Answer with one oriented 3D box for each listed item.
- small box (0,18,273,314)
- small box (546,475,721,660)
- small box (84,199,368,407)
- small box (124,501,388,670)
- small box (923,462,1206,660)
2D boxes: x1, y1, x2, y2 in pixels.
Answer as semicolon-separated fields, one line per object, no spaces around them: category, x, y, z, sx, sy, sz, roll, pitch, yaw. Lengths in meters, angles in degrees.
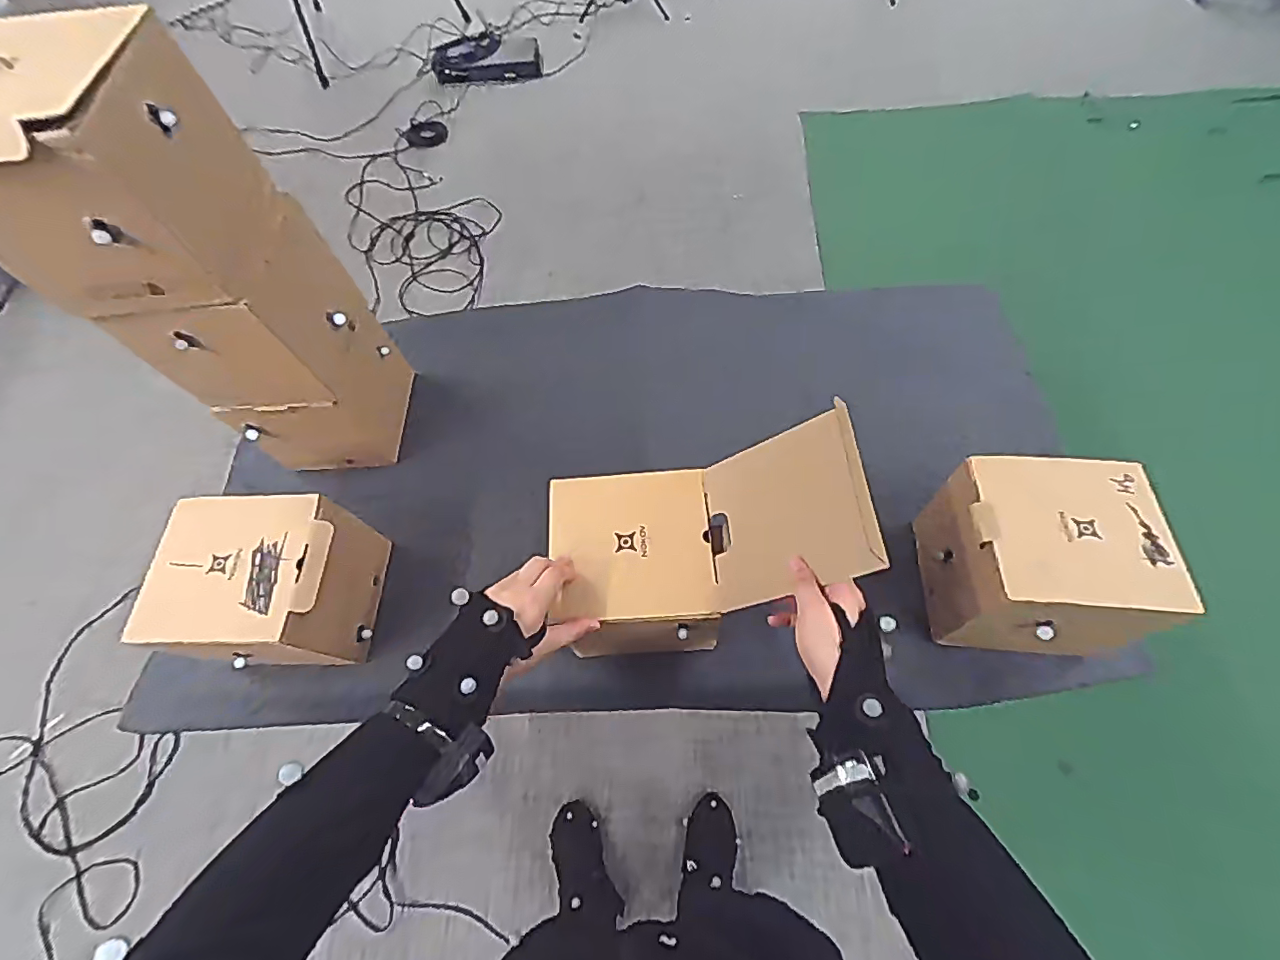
small box;-0.475;-0.268;0.489;0.168;0.176;0.179;-5;63;0
small box;-0.004;0.110;0.636;0.179;0.176;0.168;-5;62;2
small box;-0.458;-0.197;0.634;0.179;0.176;0.168;-2;65;3
small box;-0.436;0.133;0.654;0.179;0.176;0.168;-1;64;4
small box;0.438;0.095;0.602;0.179;0.176;0.168;3;60;6
